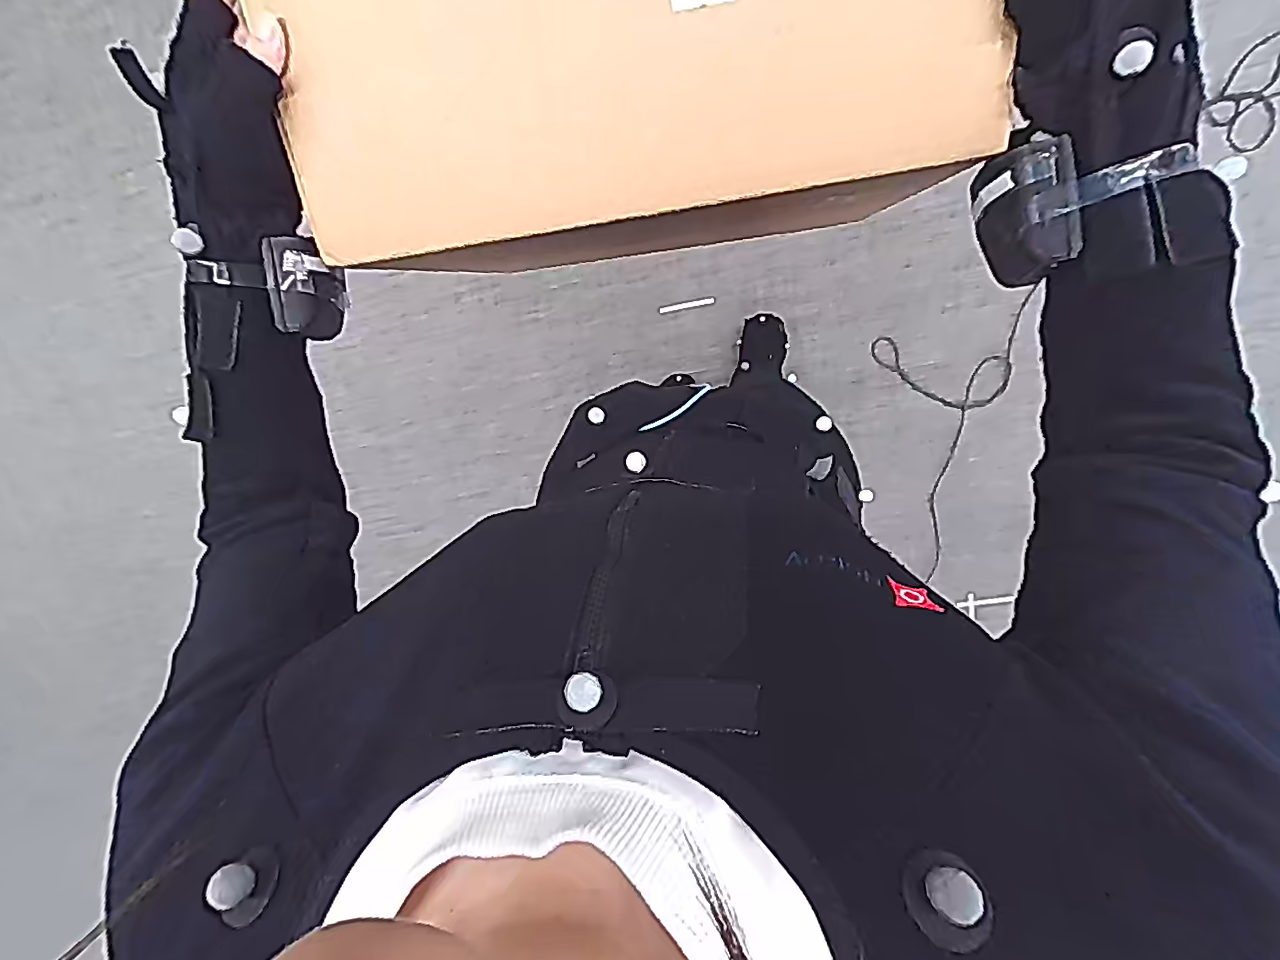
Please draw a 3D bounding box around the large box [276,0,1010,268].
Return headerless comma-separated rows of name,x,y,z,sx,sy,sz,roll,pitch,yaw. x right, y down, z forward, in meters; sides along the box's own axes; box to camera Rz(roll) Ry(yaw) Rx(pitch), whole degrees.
large box,-0.001,-0.362,0.417,0.408,0.320,0.320,-5,110,10
